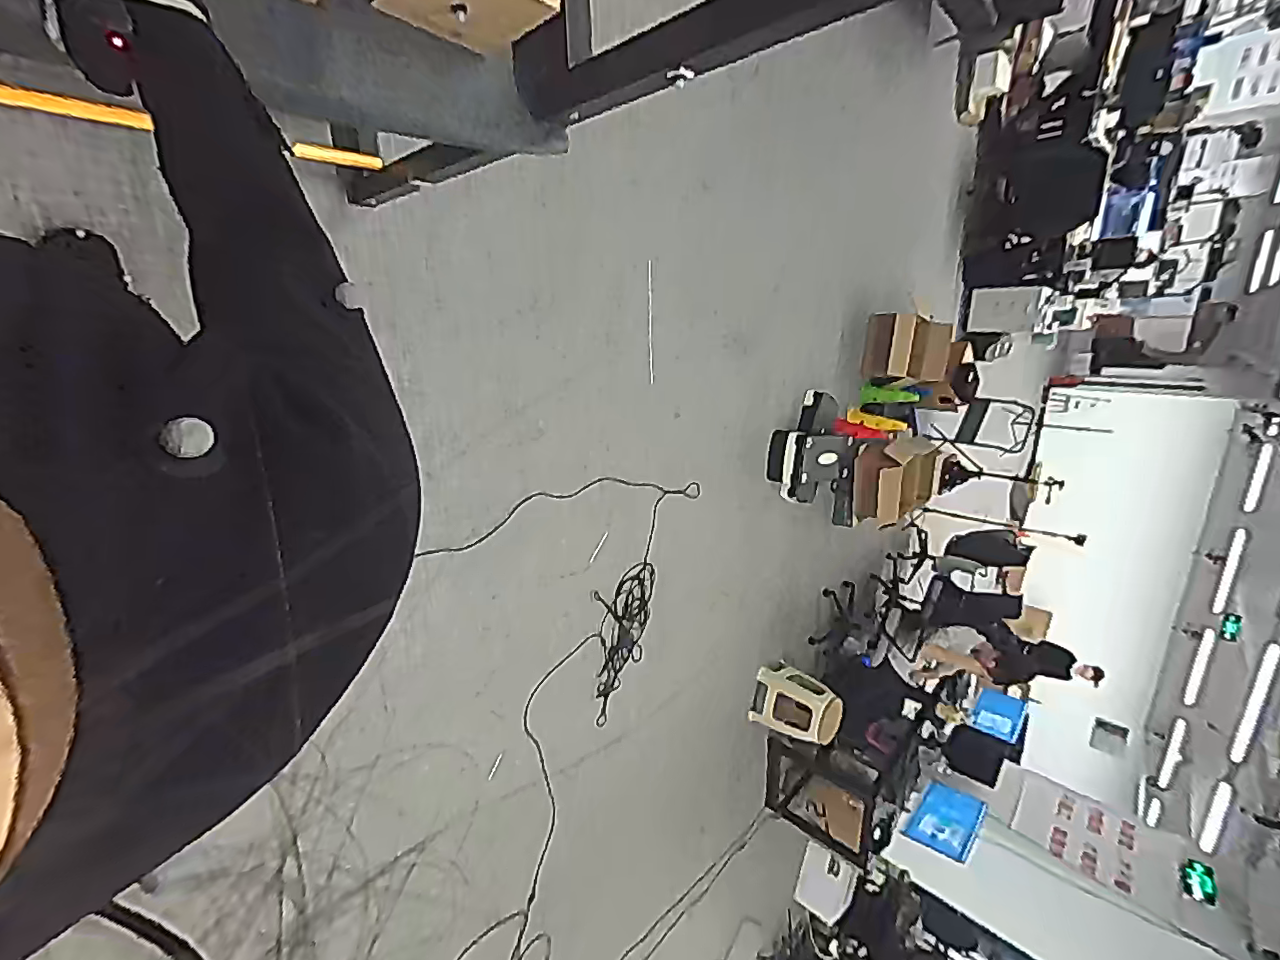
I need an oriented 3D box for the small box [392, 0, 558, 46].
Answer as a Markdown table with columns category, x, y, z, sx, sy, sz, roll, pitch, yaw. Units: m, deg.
| category | x | y | z | sx | sy | sz | roll | pitch | yaw |
| --- | --- | --- | --- | --- | --- | --- | --- | --- | --- |
| small box | -0.212 | -0.664 | 0.640 | 0.168 | 0.176 | 0.179 | -13 | 110 | -46 |
